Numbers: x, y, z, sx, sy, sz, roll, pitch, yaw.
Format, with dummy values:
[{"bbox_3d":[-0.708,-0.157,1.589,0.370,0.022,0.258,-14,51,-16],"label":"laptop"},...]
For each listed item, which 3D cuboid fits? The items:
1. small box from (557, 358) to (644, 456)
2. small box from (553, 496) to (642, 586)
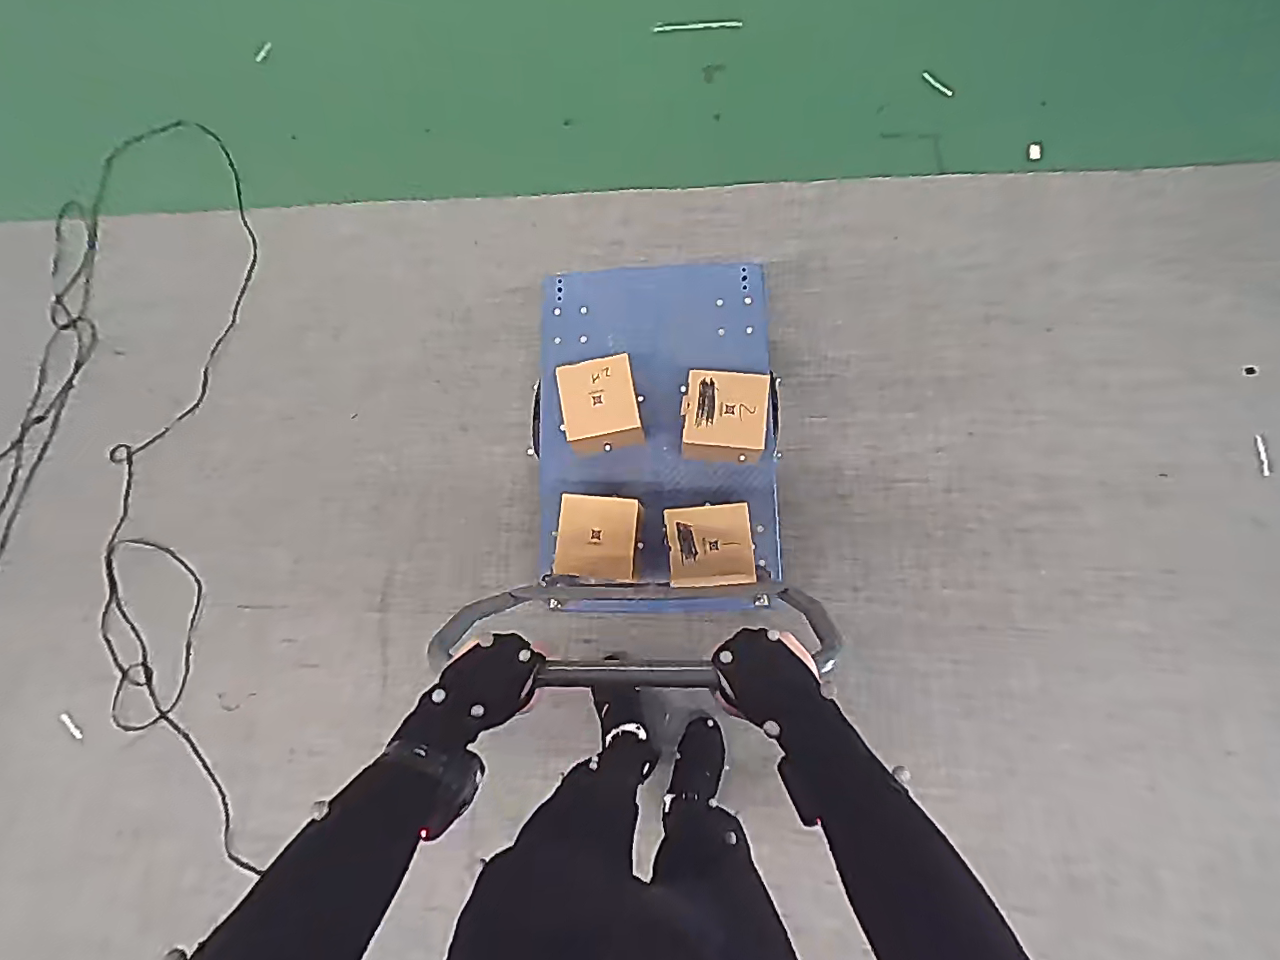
[{"bbox_3d":[-0.086,-0.160,1.265,0.168,0.176,0.179,-10,79,2],"label":"small box"},{"bbox_3d":[-0.088,0.140,1.211,0.168,0.176,0.179,5,81,5],"label":"small box"}]
